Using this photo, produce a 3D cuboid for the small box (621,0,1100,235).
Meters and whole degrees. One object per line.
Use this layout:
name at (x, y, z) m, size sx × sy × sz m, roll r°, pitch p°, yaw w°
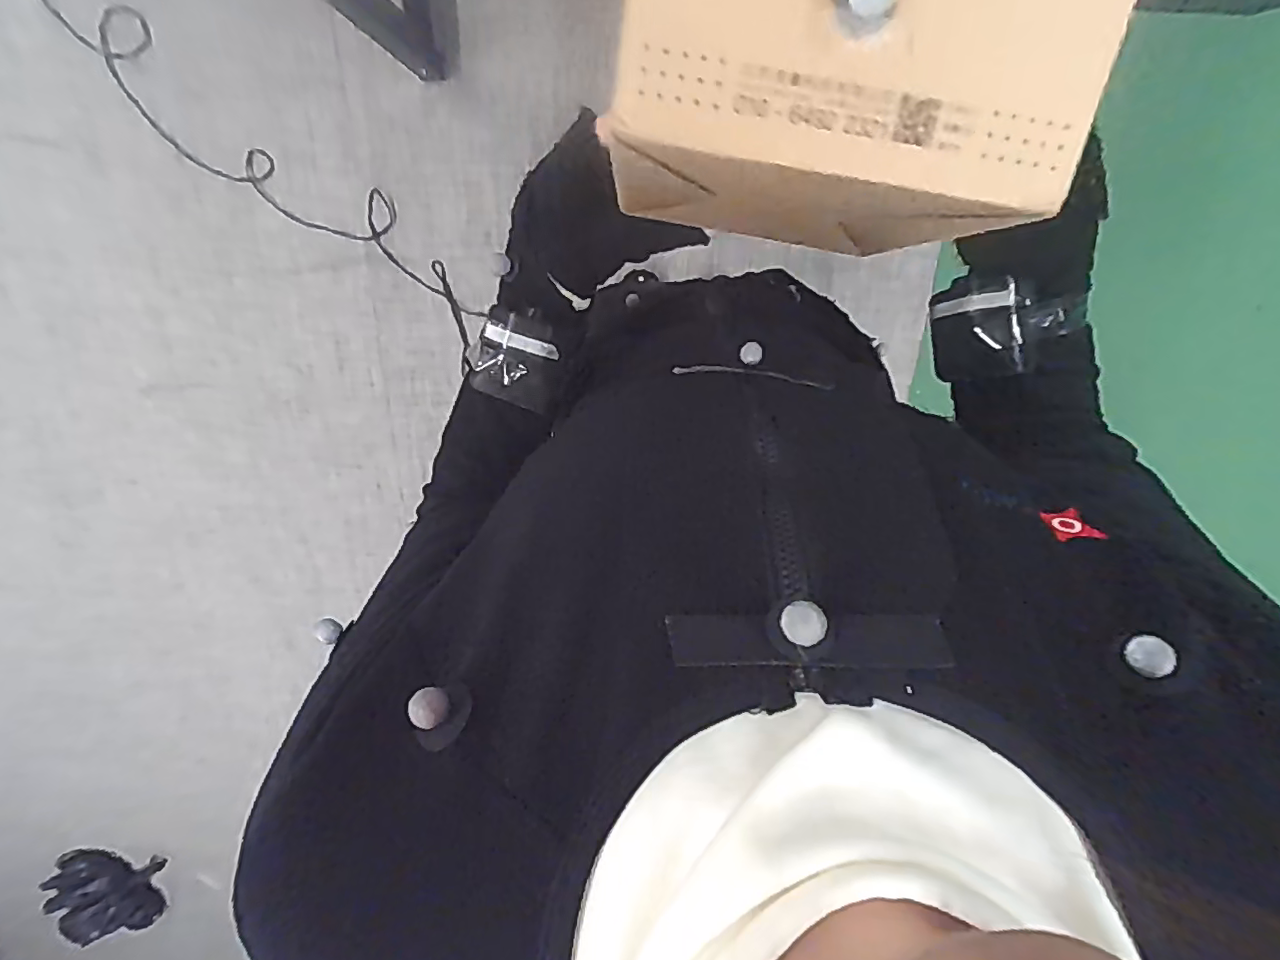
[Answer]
small box at (0.083, -0.222, 0.257) m, size 0.168 × 0.179 × 0.176 m, roll 7°, pitch 109°, yaw -3°
